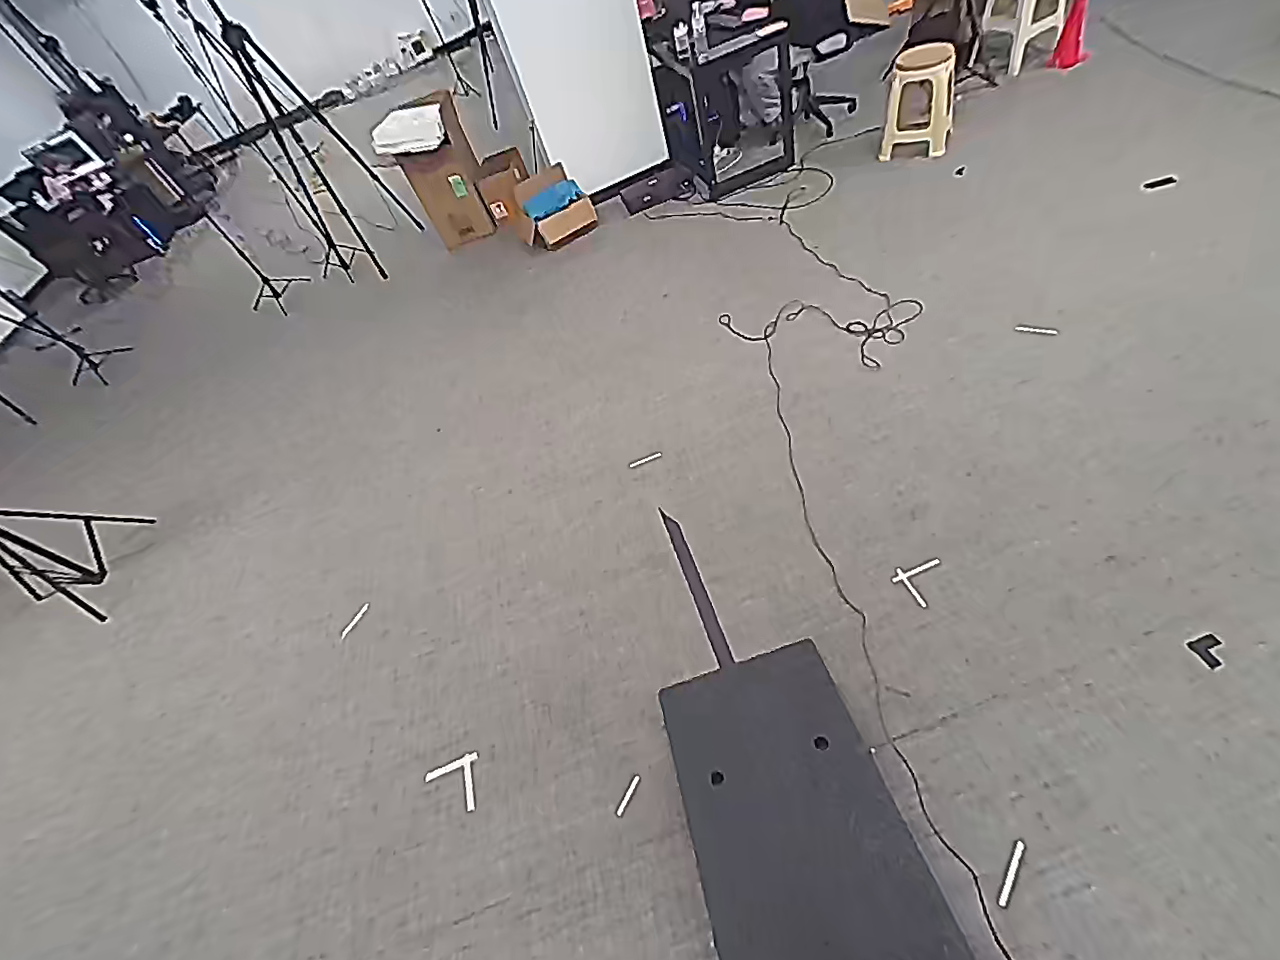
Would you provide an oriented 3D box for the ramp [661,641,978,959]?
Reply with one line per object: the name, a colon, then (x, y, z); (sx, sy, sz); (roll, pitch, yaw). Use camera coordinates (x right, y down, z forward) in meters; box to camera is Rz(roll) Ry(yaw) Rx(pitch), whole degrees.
ramp: (0.374, 0.859, 1.237); (0.509, 0.206, 0.991); (-23, 48, 3)
